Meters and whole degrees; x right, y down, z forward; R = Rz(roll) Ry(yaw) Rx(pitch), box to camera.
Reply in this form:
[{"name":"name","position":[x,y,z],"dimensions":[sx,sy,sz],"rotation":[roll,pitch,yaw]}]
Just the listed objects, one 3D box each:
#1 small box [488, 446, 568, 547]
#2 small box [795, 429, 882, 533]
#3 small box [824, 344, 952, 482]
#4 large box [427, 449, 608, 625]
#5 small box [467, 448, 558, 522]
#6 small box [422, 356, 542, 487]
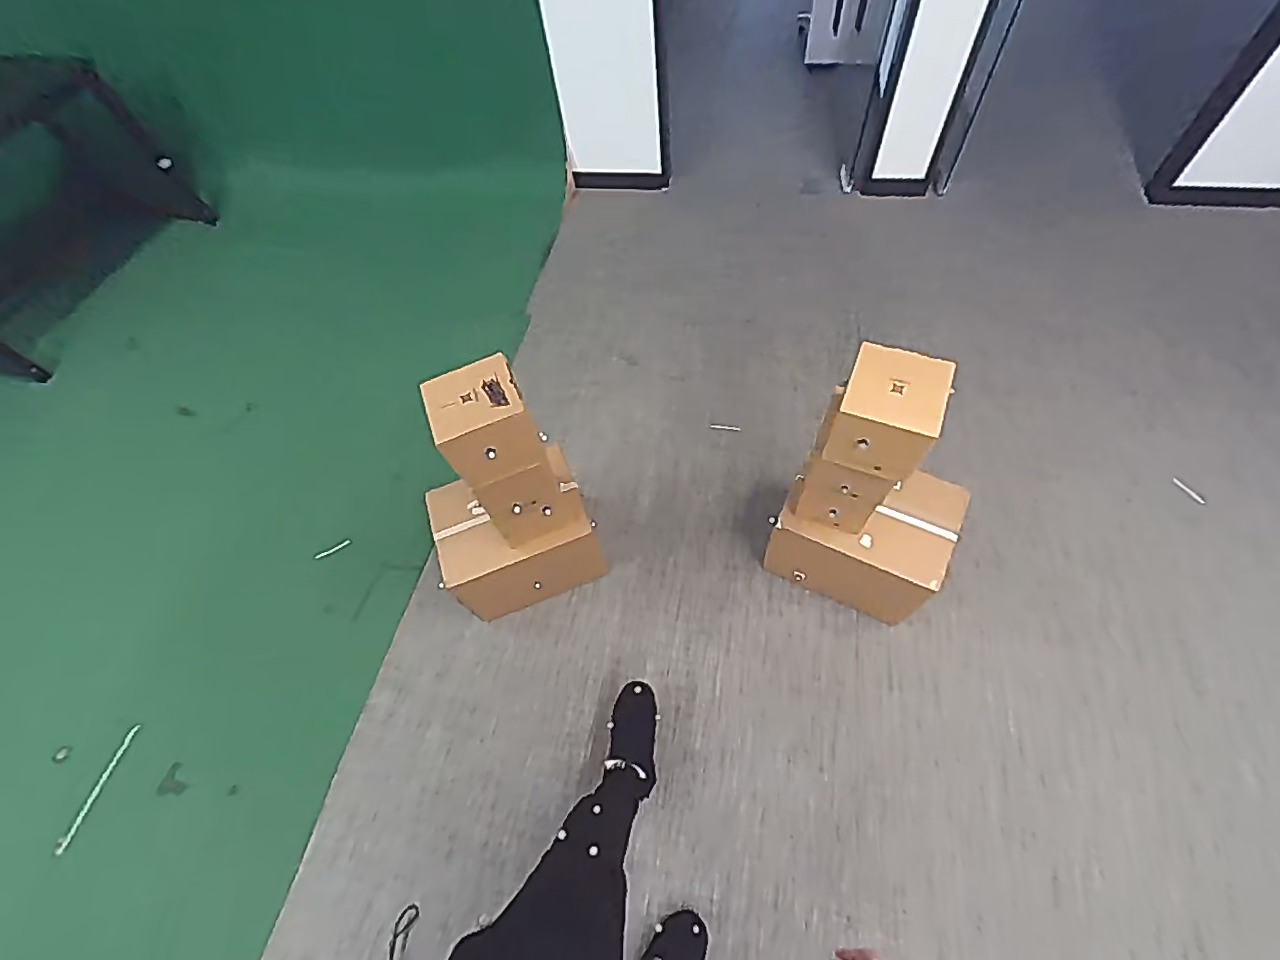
[{"name":"small box","position":[-0.292,0.045,1.379],"dimensions":[0.179,0.176,0.168],"rotation":[-22,59,-7]},{"name":"small box","position":[0.488,0.007,1.325],"dimensions":[0.168,0.176,0.179],"rotation":[17,63,14]},{"name":"small box","position":[0.459,-0.122,1.023],"dimensions":[0.168,0.176,0.179],"rotation":[19,63,16]},{"name":"large box","position":[-0.348,0.174,1.595],"dimensions":[0.408,0.320,0.320],"rotation":[-22,58,-6]},{"name":"small box","position":[-0.301,-0.033,1.236],"dimensions":[0.168,0.176,0.179],"rotation":[-21,60,-6]},{"name":"small box","position":[-0.311,-0.114,1.095],"dimensions":[0.179,0.176,0.168],"rotation":[-23,60,-6]}]
